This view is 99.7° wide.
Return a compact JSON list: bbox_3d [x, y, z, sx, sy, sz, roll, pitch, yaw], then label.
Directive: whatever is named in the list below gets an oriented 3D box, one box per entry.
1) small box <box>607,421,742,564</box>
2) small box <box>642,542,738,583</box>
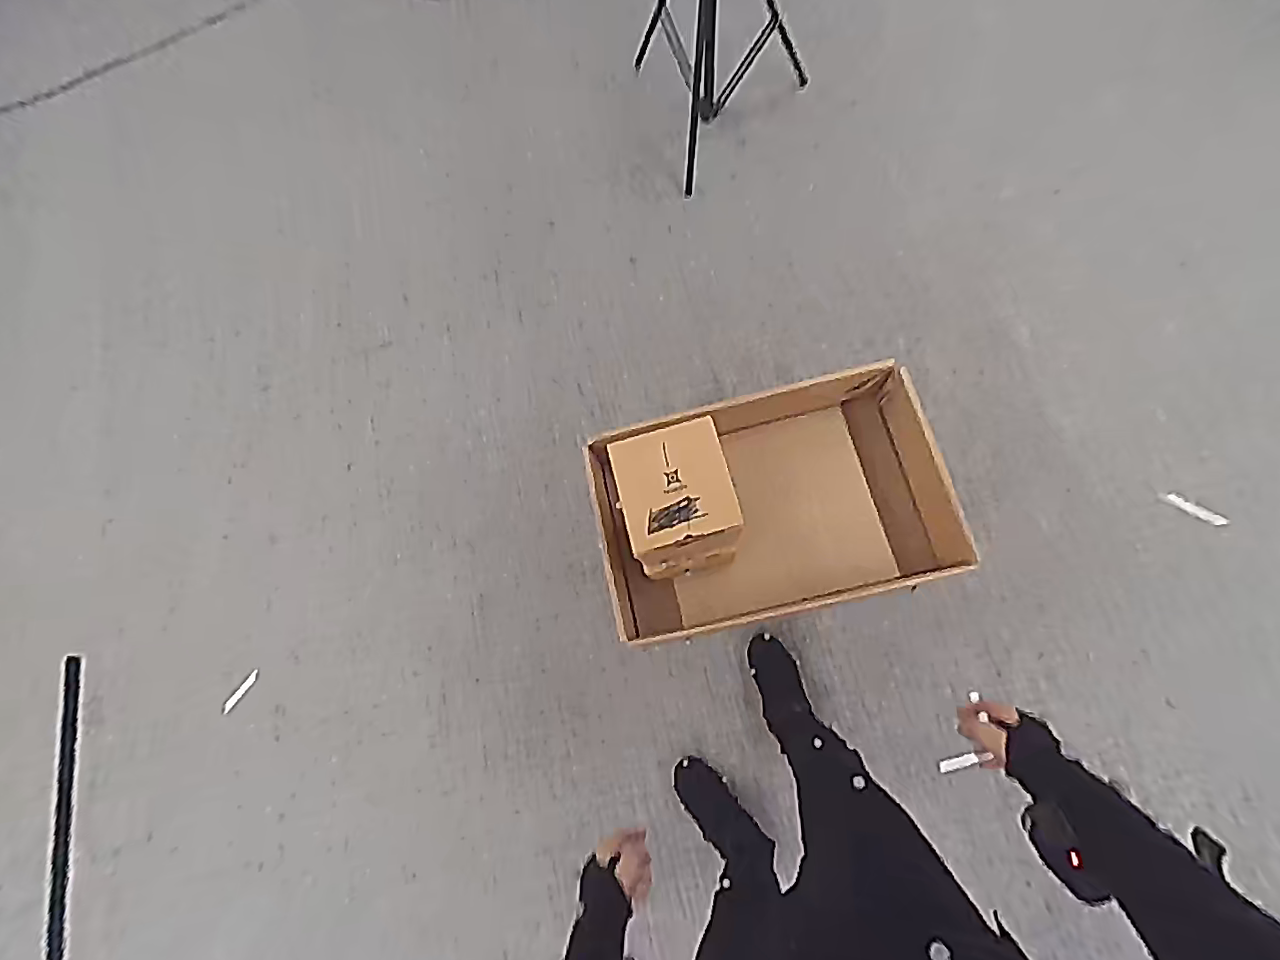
[{"bbox_3d":[0.058,0.031,0.862,0.168,0.176,0.179,-15,73,2],"label":"small box"},{"bbox_3d":[0.077,0.086,1.017,0.168,0.176,0.179,-16,74,3],"label":"small box"}]
